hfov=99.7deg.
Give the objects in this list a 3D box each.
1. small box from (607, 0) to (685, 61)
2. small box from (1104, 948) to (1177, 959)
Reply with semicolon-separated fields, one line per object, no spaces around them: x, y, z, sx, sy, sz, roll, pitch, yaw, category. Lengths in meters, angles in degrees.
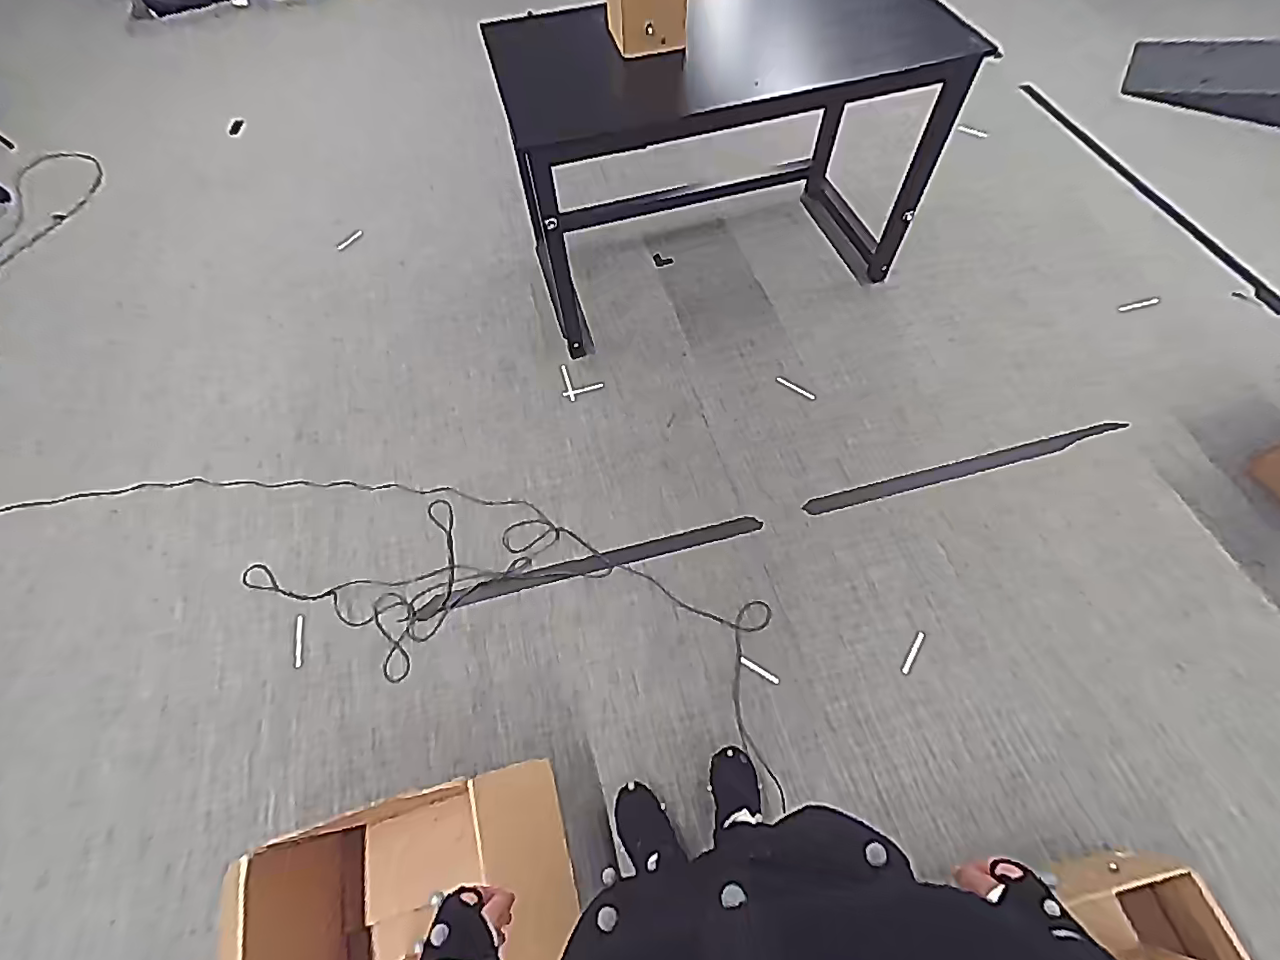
0.011;-1.200;1.362;0.168;0.176;0.179;-14;63;-5;small box
0.928;0.963;0.947;0.179;0.176;0.168;-14;60;-3;small box
